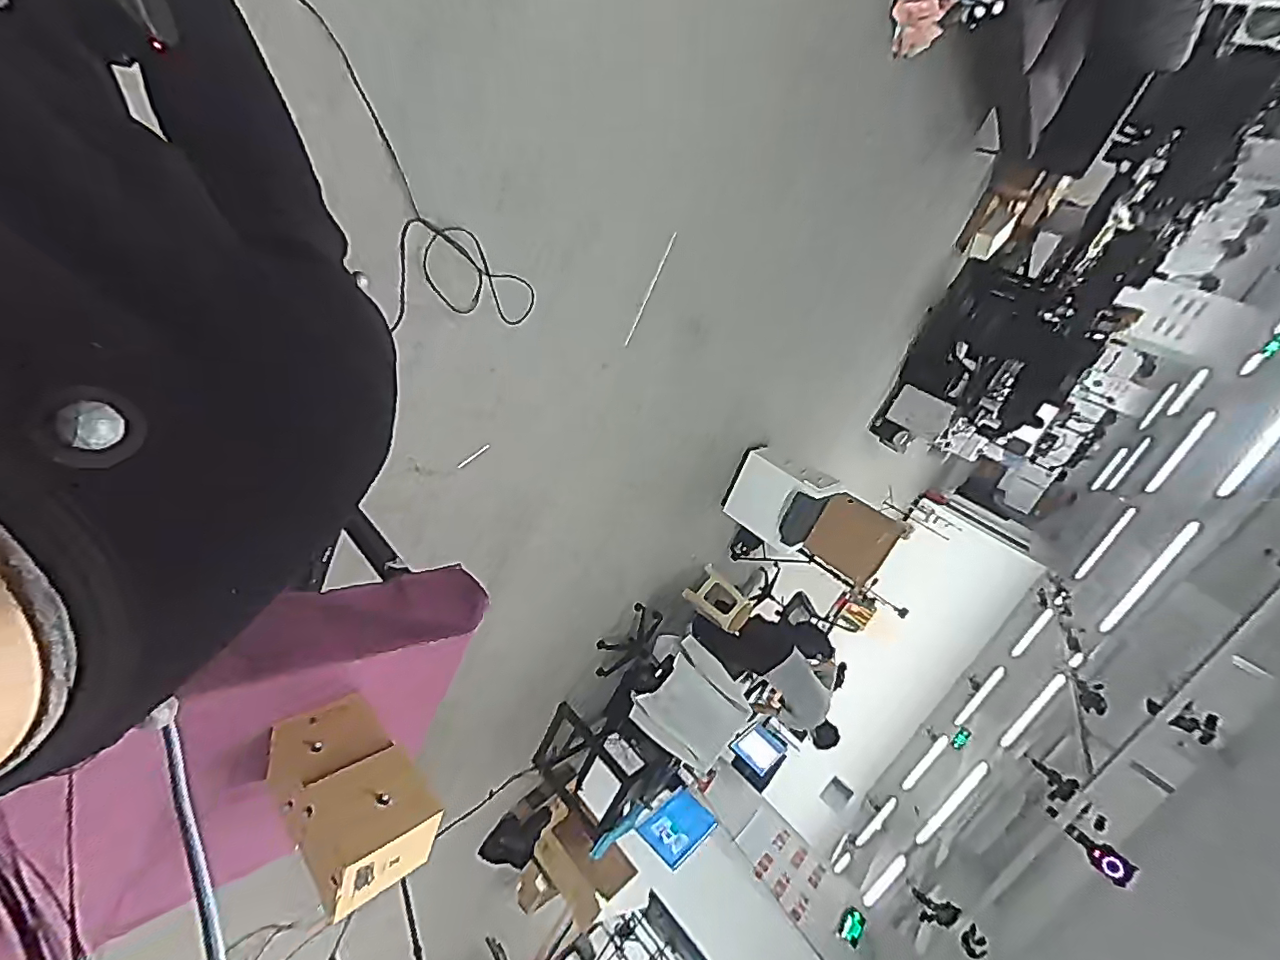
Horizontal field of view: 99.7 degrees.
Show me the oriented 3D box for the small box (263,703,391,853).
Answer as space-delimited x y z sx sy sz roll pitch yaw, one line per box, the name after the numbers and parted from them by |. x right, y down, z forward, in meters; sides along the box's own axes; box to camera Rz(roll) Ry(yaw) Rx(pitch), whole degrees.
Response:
-0.626 0.576 1.077 0.168 0.176 0.179 -6 127 -50 | small box

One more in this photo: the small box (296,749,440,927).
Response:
-0.502 0.639 0.988 0.179 0.176 0.168 -7 127 -50 | small box
